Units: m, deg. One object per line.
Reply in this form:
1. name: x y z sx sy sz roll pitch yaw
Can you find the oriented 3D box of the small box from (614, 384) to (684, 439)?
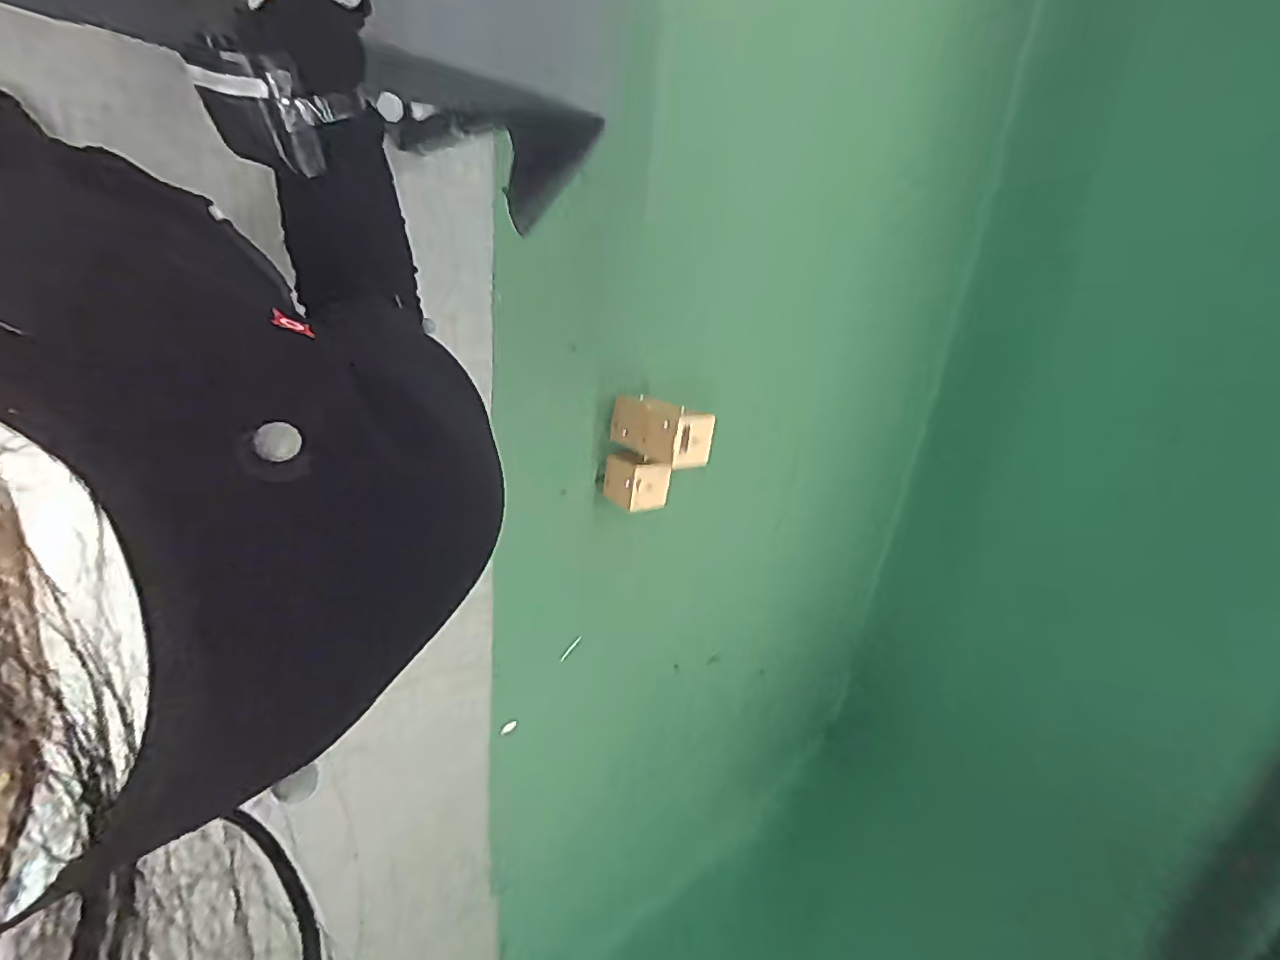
1. small box: 0.026 -0.246 1.931 0.179 0.176 0.168 -6 113 -40
